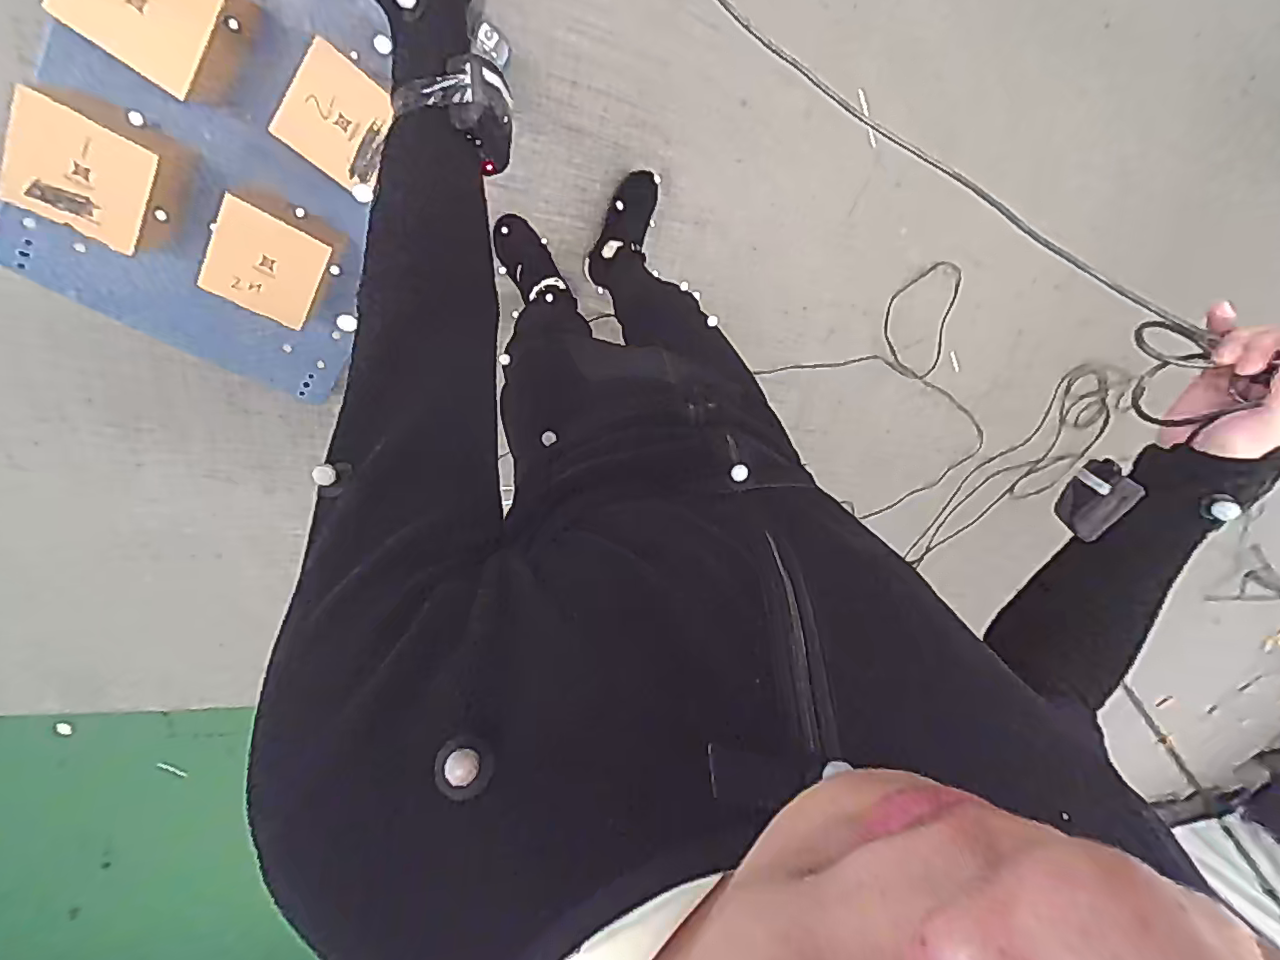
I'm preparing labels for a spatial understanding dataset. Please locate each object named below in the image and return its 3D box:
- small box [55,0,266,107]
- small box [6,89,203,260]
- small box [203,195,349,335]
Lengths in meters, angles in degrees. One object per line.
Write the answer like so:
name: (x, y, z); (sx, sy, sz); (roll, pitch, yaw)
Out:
small box: (-0.709, -0.704, 0.822); (0.168, 0.176, 0.179); (30, 109, -30)
small box: (-0.872, -0.501, 0.898); (0.168, 0.176, 0.179); (25, 110, -29)
small box: (-0.672, -0.409, 1.018); (0.168, 0.176, 0.179); (25, 111, -28)
